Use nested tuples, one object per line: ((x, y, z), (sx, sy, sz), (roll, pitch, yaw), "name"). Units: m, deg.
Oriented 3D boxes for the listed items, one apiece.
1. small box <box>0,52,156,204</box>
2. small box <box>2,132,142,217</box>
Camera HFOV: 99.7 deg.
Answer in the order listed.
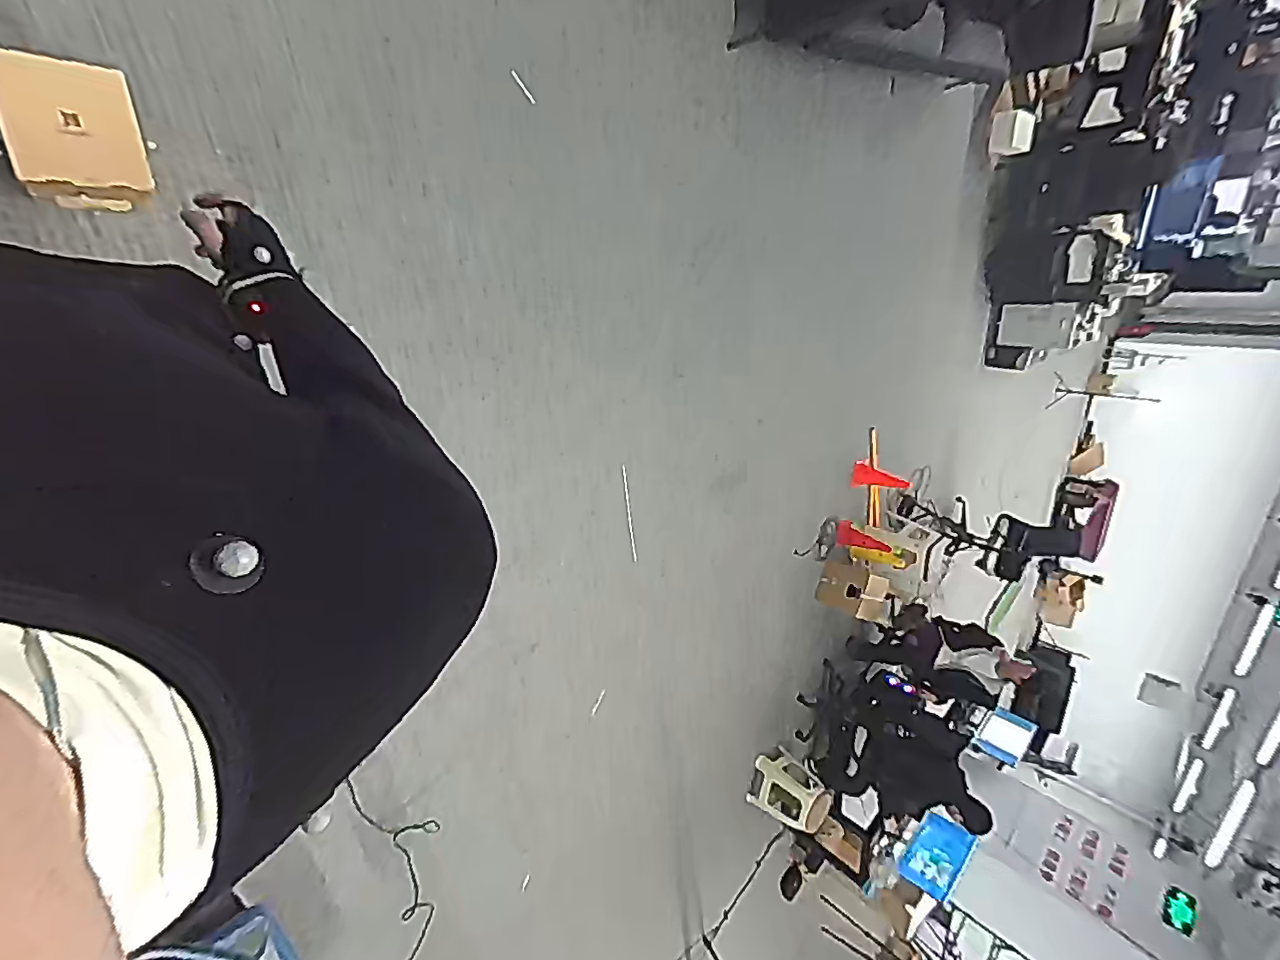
((-0.951, -0.576, 0.909), (0.168, 0.176, 0.179), (-18, 116, -40), "small box")
((-1.064, -0.610, 1.017), (0.168, 0.176, 0.179), (-10, 112, -39), "small box")
